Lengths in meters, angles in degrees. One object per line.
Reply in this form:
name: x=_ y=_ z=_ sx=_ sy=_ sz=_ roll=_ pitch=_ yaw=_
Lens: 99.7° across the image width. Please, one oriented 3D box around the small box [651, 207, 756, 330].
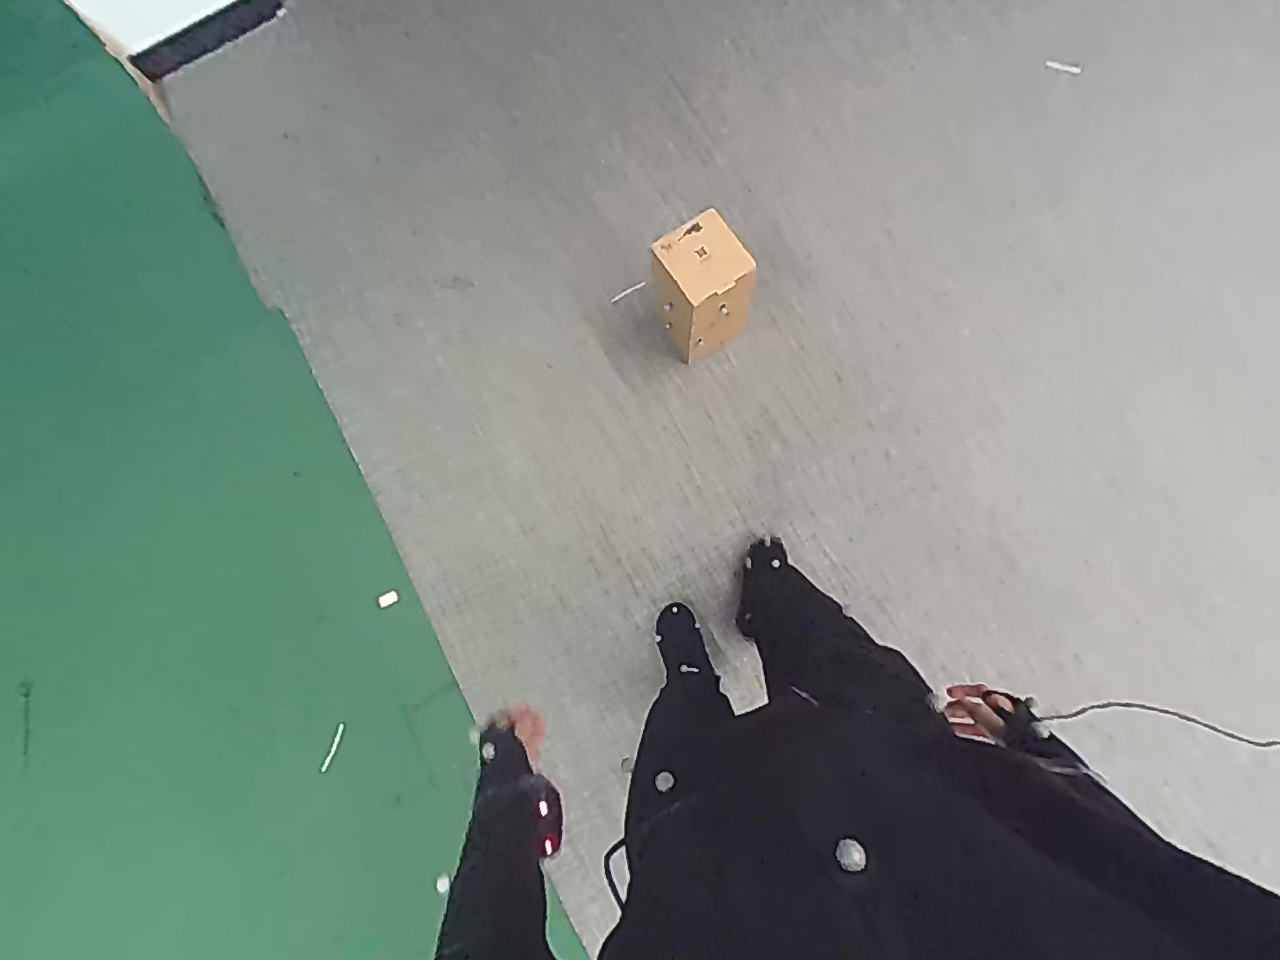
small box: x=0.140 y=-0.466 z=1.229 sx=0.168 sy=0.176 sz=0.179 roll=-32 pitch=80 yaw=-3
